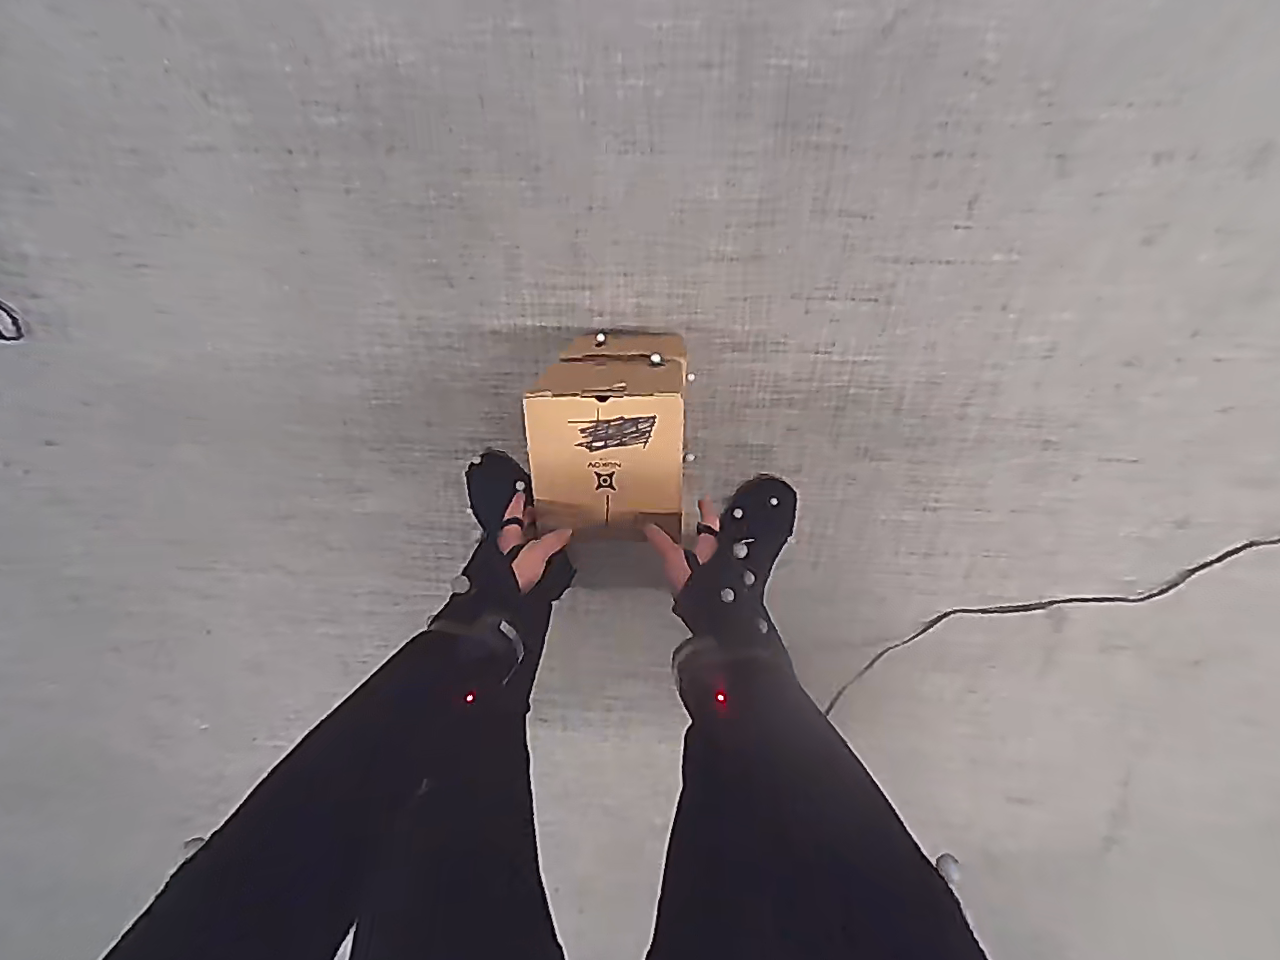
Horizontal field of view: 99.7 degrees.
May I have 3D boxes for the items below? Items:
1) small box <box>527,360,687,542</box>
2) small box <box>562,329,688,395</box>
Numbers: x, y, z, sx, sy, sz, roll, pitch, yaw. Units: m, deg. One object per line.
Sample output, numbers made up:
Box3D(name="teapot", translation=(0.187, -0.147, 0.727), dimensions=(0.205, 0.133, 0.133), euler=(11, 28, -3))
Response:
Box3D(name="small box", translation=(-0.030, -0.044, 0.652), dimensions=(0.168, 0.176, 0.179), euler=(1, 115, 4))
Box3D(name="small box", translation=(-0.017, -0.121, 0.797), dimensions=(0.168, 0.176, 0.179), euler=(2, 117, 4))
